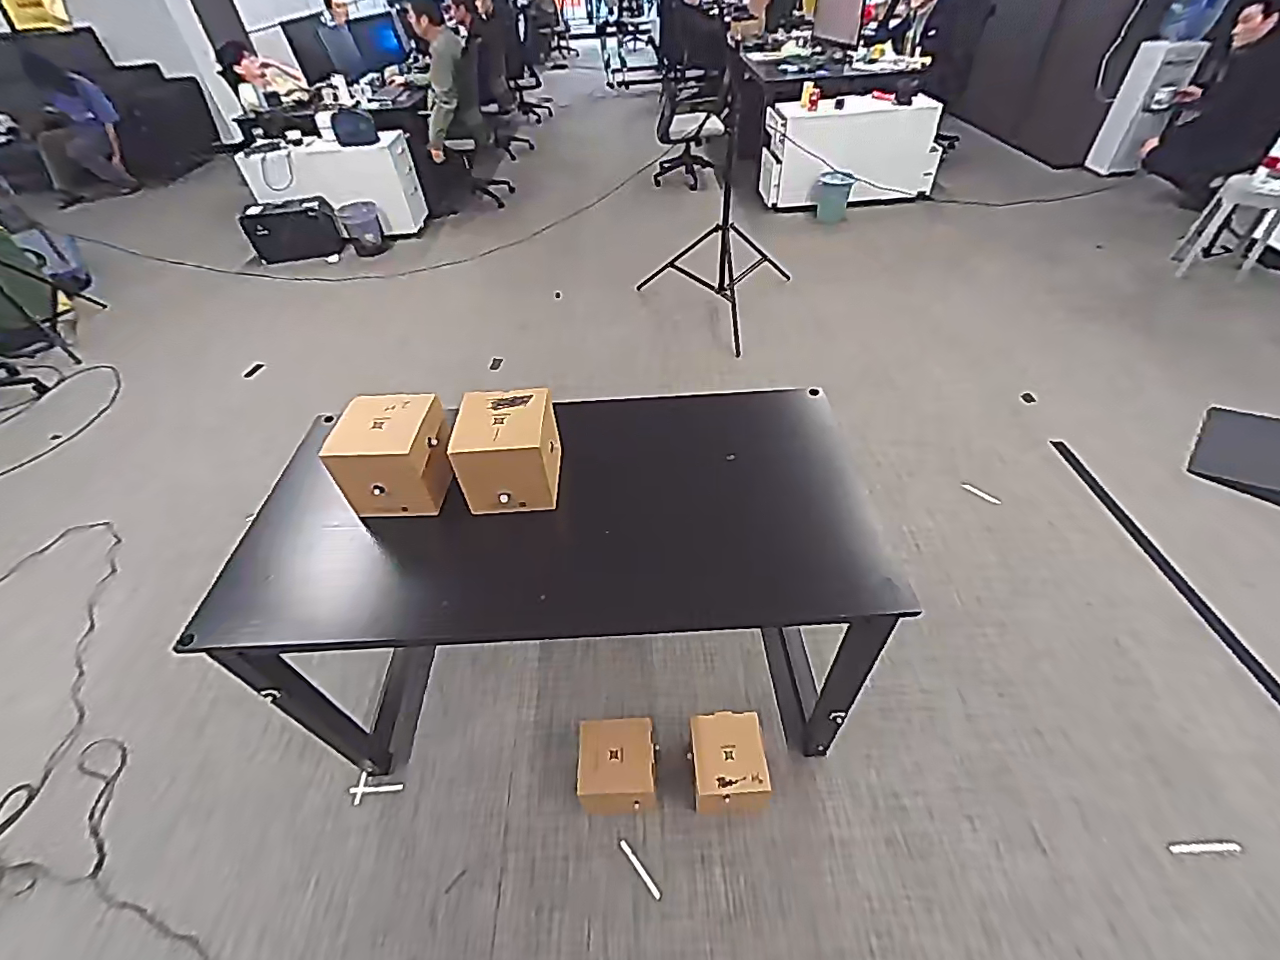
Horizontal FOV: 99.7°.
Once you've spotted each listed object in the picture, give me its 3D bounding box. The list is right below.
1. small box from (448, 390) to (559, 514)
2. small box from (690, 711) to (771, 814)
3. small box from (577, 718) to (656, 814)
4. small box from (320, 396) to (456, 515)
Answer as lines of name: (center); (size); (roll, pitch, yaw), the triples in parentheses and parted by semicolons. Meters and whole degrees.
small box: (-0.254, -0.054, 1.053); (0.168, 0.176, 0.179); (-4, 47, 0)
small box: (0.210, 0.685, 1.312); (0.168, 0.176, 0.179); (-5, 45, 1)
small box: (-0.052, 0.700, 1.322); (0.179, 0.176, 0.168); (-5, 44, 1)
small box: (-0.478, -0.045, 1.062); (0.168, 0.176, 0.179); (-1, 45, 3)
